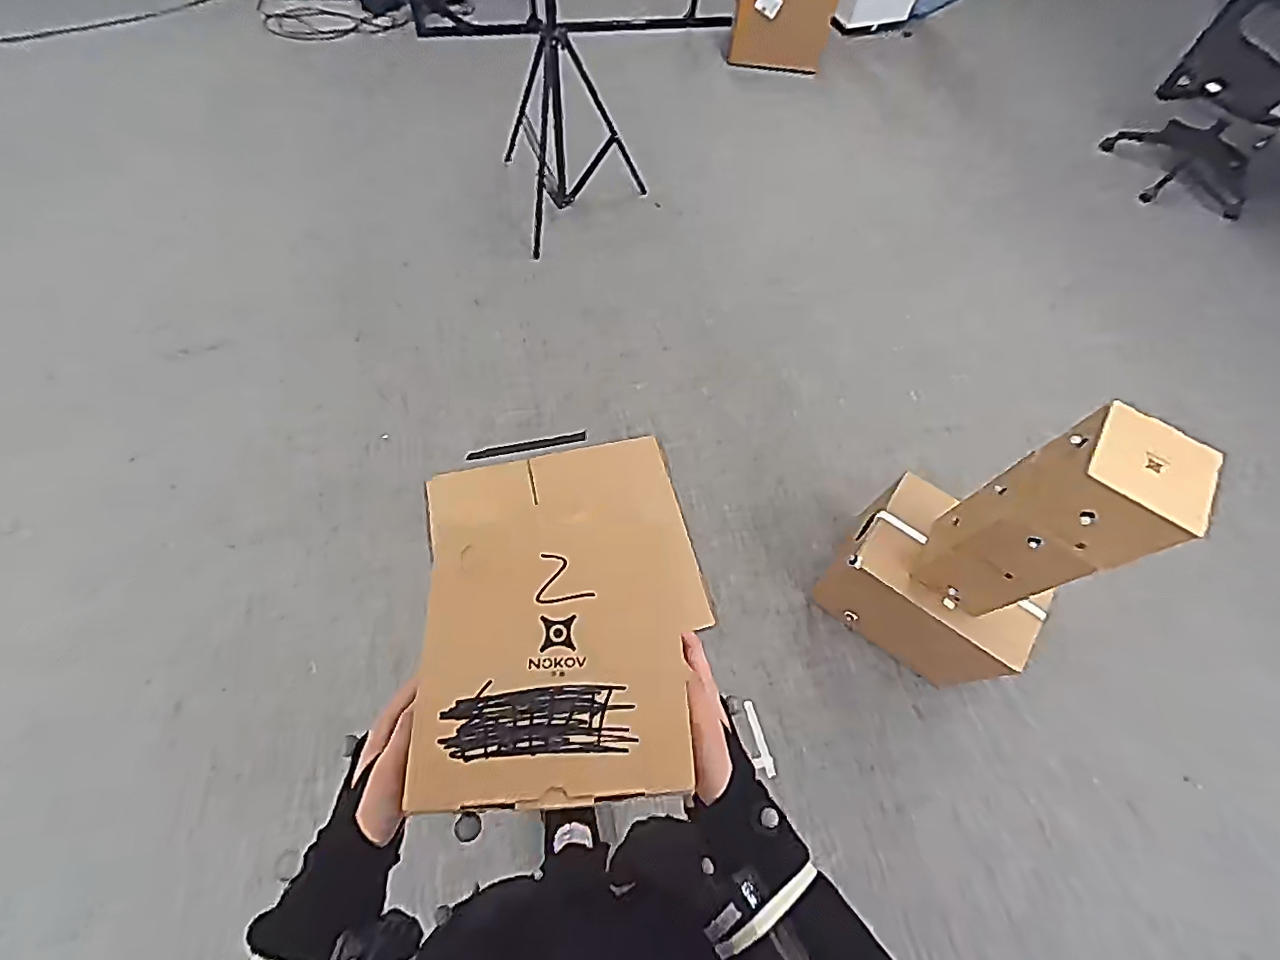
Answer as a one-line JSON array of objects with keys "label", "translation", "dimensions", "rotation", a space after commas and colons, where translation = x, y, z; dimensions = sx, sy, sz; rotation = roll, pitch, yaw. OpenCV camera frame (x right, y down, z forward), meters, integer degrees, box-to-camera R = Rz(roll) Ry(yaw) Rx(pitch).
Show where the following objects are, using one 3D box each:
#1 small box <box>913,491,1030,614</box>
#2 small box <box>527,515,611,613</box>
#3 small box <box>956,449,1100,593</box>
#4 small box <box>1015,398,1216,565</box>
[{"label": "small box", "translation": [0.726, 0.159, 1.164], "dimensions": [0.168, 0.176, 0.179], "rotation": [34, 66, 13]}, {"label": "small box", "translation": [-0.181, 0.222, 1.397], "dimensions": [0.168, 0.176, 0.179], "rotation": [-20, 66, -12]}, {"label": "small box", "translation": [0.739, 0.081, 1.020], "dimensions": [0.168, 0.176, 0.179], "rotation": [34, 64, 13]}, {"label": "small box", "translation": [0.753, 0.010, 0.874], "dimensions": [0.168, 0.176, 0.179], "rotation": [34, 65, 13]}]
